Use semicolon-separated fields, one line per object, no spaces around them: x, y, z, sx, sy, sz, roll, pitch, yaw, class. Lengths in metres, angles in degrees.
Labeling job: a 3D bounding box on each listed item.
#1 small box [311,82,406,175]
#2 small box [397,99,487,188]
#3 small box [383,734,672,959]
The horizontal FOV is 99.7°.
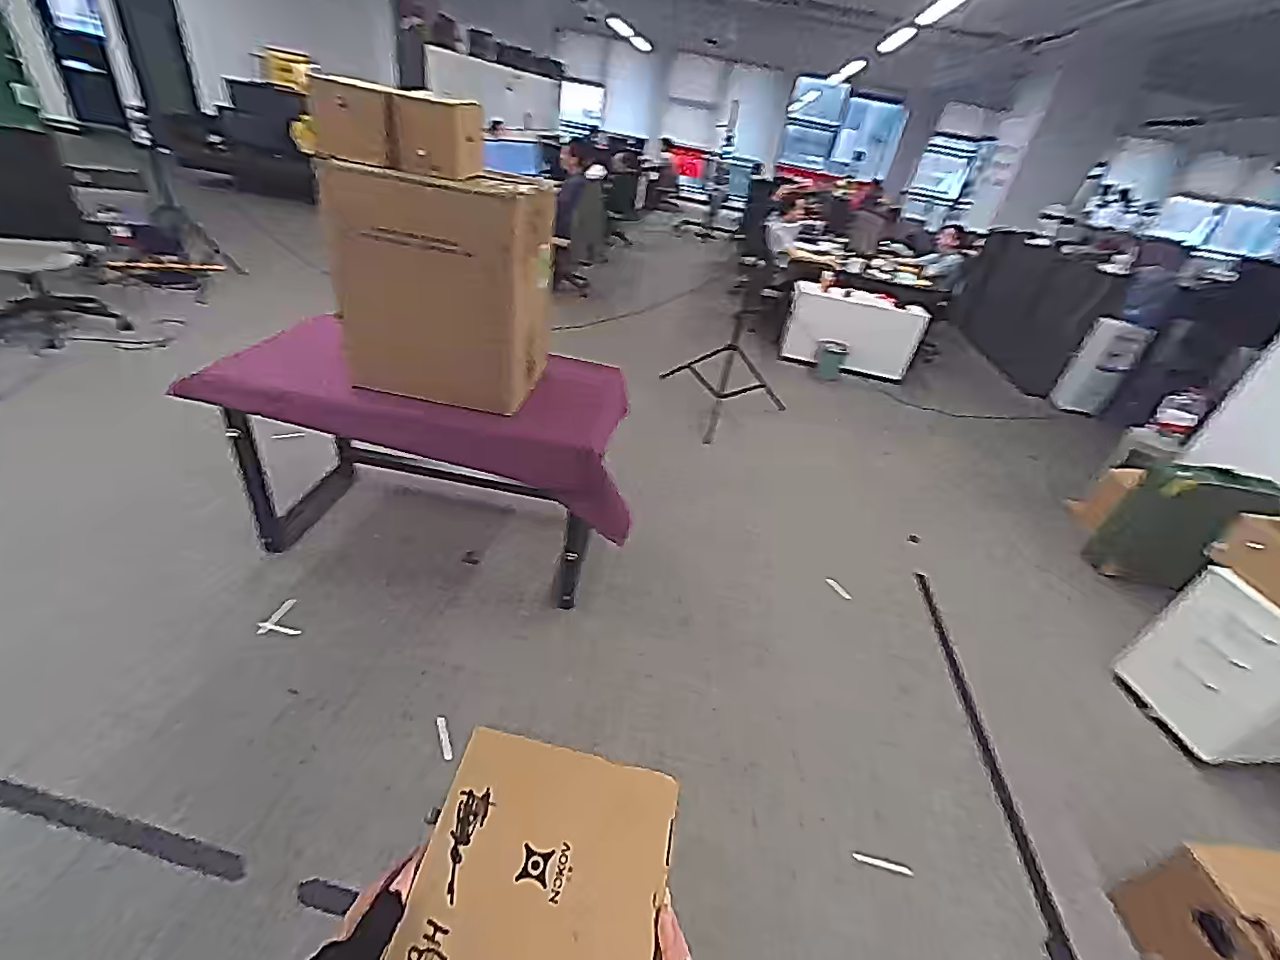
-0.701;-0.895;1.386;0.179;0.176;0.168;12;34;-3;small box
-0.512;-0.884;1.421;0.168;0.176;0.179;12;36;3;small box
-0.085;0.339;0.444;0.179;0.176;0.168;14;44;-1;small box
